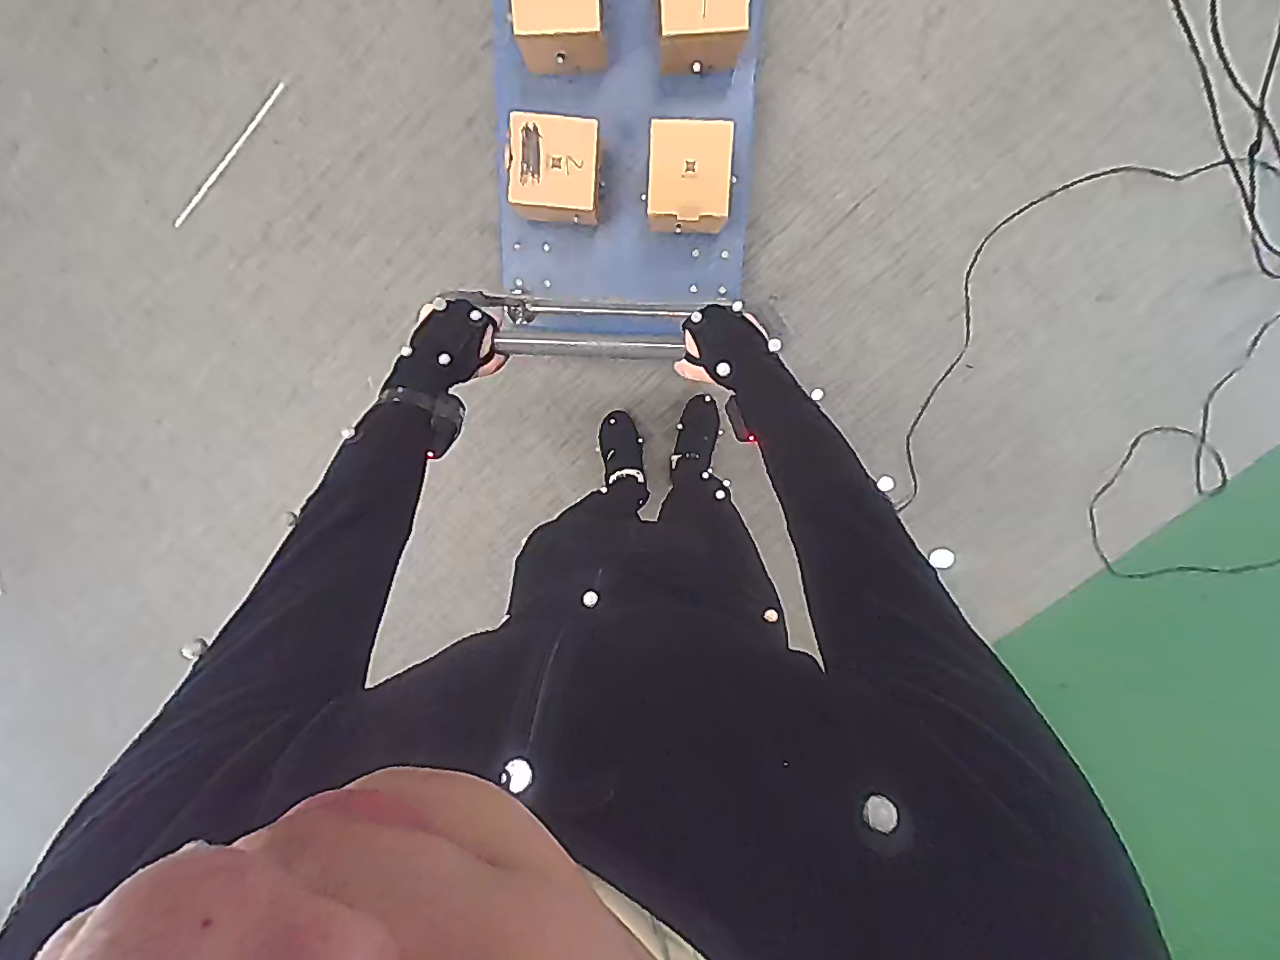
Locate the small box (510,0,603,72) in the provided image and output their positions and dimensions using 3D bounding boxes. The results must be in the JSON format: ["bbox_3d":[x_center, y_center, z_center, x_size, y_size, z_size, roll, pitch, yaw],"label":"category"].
[{"bbox_3d":[-0.161,-0.940,1.072,0.168,0.176,0.179,-2,106,0],"label":"small box"}]

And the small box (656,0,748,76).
[{"bbox_3d":[0.118,-0.941,1.072,0.168,0.176,0.179,-3,106,1],"label":"small box"}]

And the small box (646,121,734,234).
[{"bbox_3d":[0.100,-0.638,1.157,0.168,0.176,0.179,1,106,-1],"label":"small box"}]
